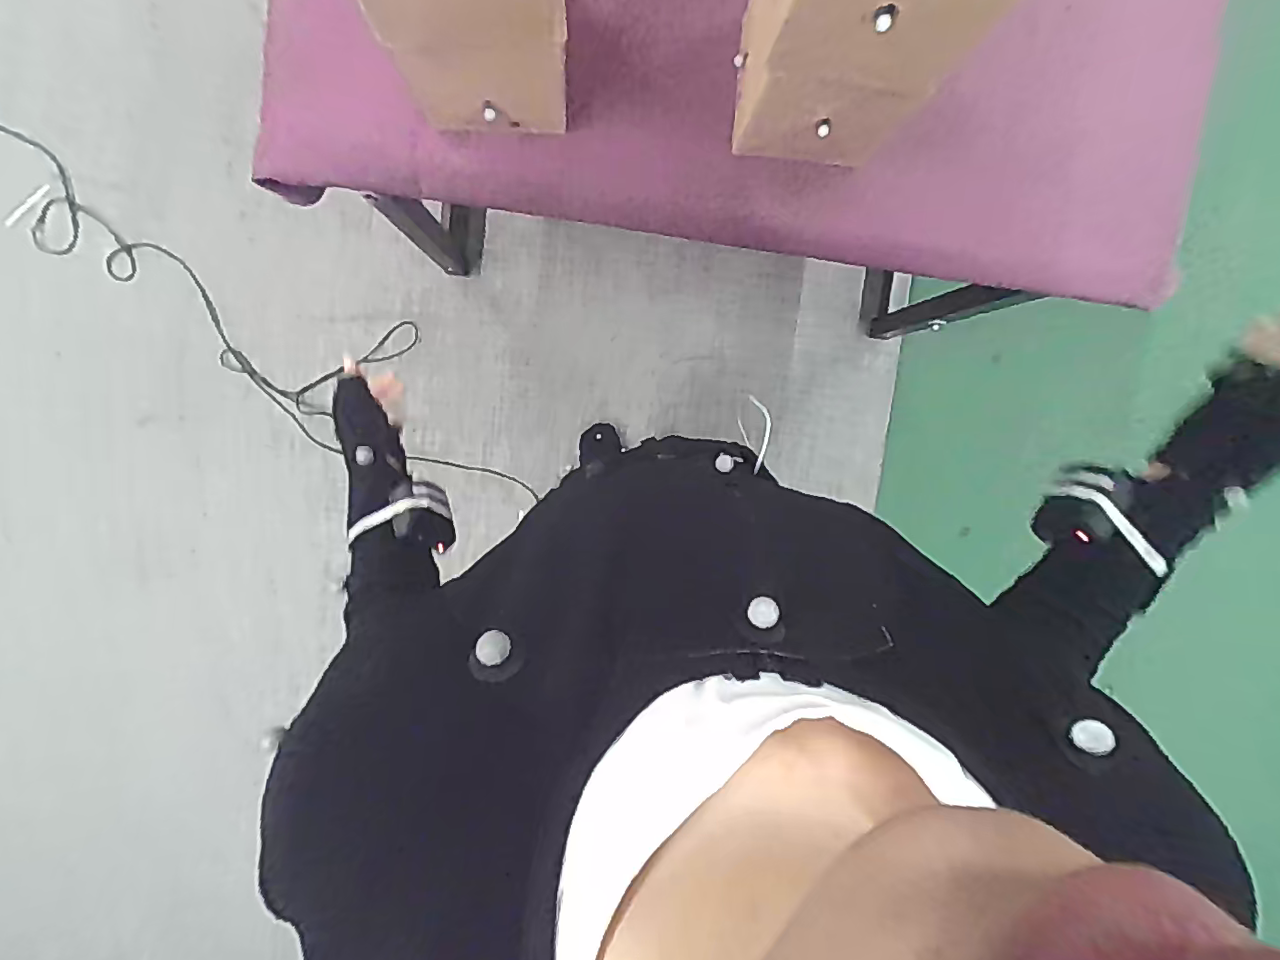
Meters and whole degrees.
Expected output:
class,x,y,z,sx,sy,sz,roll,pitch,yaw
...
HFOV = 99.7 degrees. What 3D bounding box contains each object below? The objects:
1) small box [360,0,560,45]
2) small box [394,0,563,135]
class,x,y,z,sx,sy,sz,roll,pitch,yaw
small box,-0.155,-0.488,0.429,0.179,0.176,0.168,-4,96,-5
small box,-0.172,-0.516,0.589,0.168,0.176,0.179,0,96,-5
